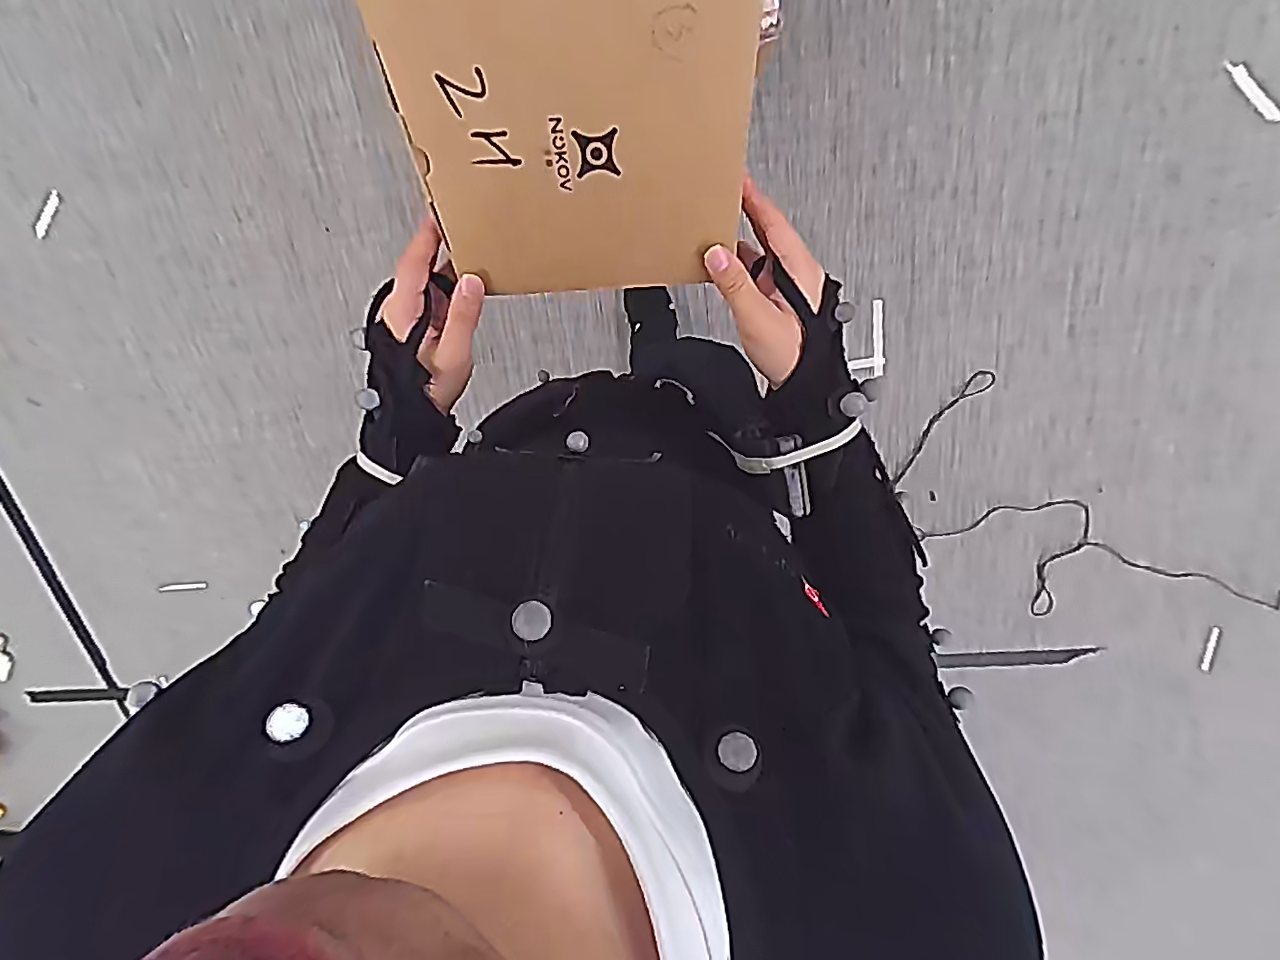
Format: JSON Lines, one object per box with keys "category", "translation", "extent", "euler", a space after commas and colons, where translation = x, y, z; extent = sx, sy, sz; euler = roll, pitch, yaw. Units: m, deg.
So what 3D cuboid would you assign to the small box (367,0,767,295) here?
{"category": "small box", "translation": [-0.032, -0.237, 0.332], "extent": [0.179, 0.176, 0.168], "euler": [-3, 144, 1]}
